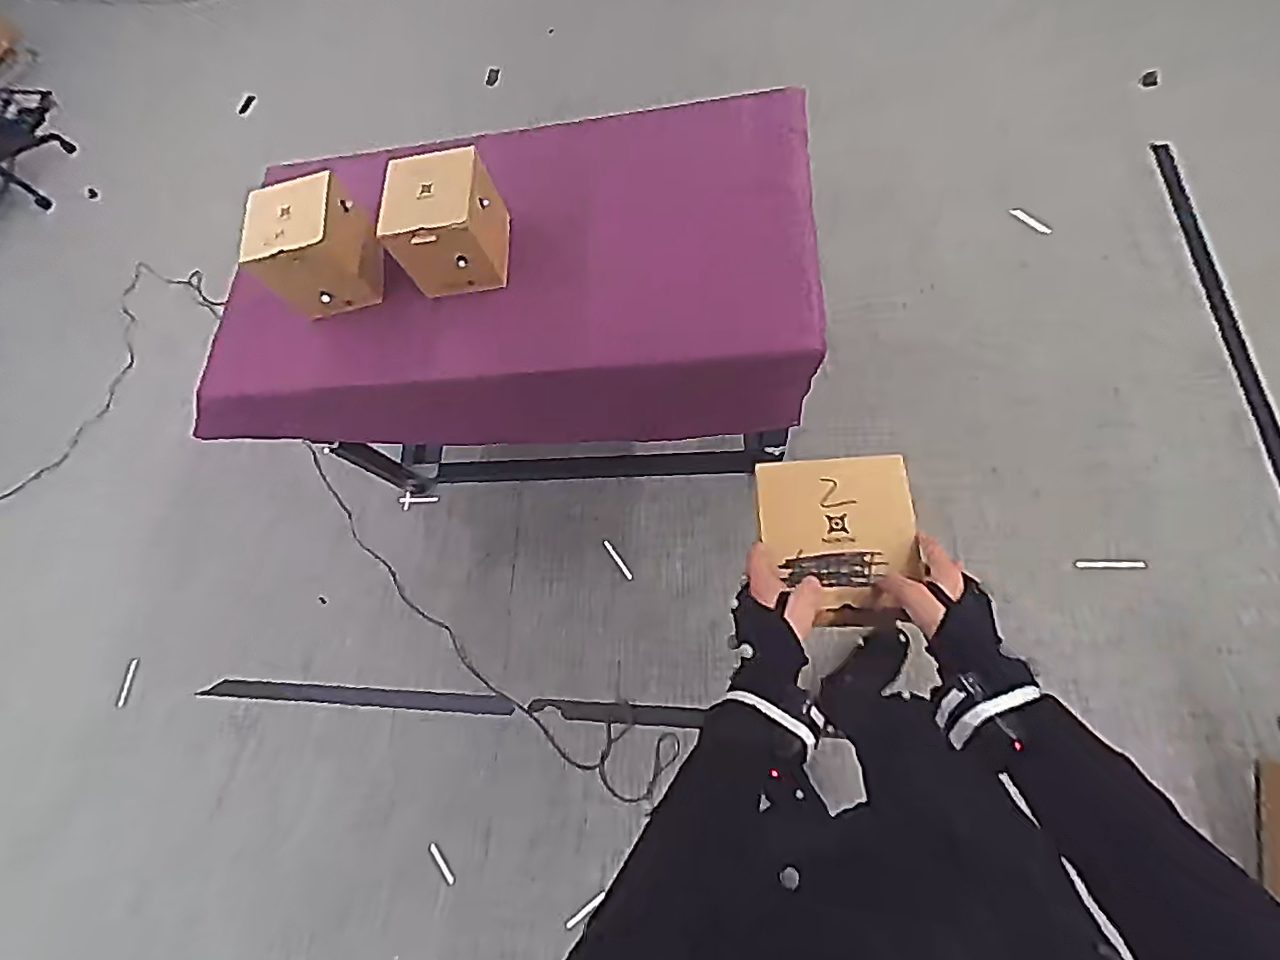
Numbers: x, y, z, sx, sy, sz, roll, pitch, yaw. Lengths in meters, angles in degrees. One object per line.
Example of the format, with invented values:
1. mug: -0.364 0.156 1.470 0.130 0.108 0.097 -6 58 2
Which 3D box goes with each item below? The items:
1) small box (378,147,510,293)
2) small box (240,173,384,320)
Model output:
1. small box: -0.351 -0.468 1.001 0.168 0.176 0.179 -4 70 8
2. small box: -0.617 -0.441 1.040 0.168 0.176 0.179 -11 70 7
